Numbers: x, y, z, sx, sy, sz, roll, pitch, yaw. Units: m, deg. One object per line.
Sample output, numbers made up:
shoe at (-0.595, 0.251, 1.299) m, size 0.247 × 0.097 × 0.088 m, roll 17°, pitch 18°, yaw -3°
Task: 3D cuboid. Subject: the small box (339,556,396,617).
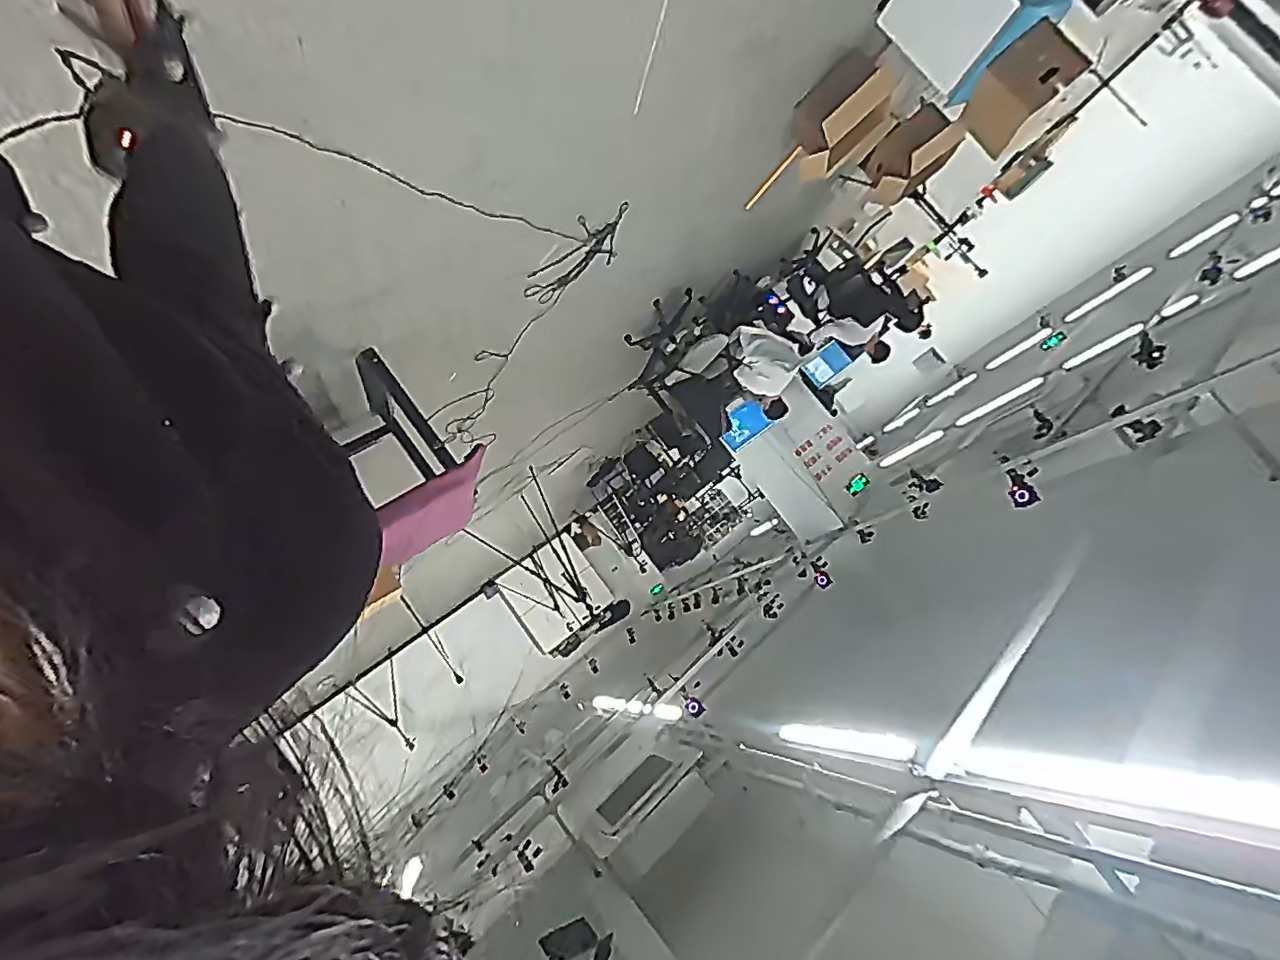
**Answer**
small box at (-1.153, 0.443, 2.273) m, size 0.168 × 0.176 × 0.179 m, roll -32°, pitch 172°, yaw -37°
